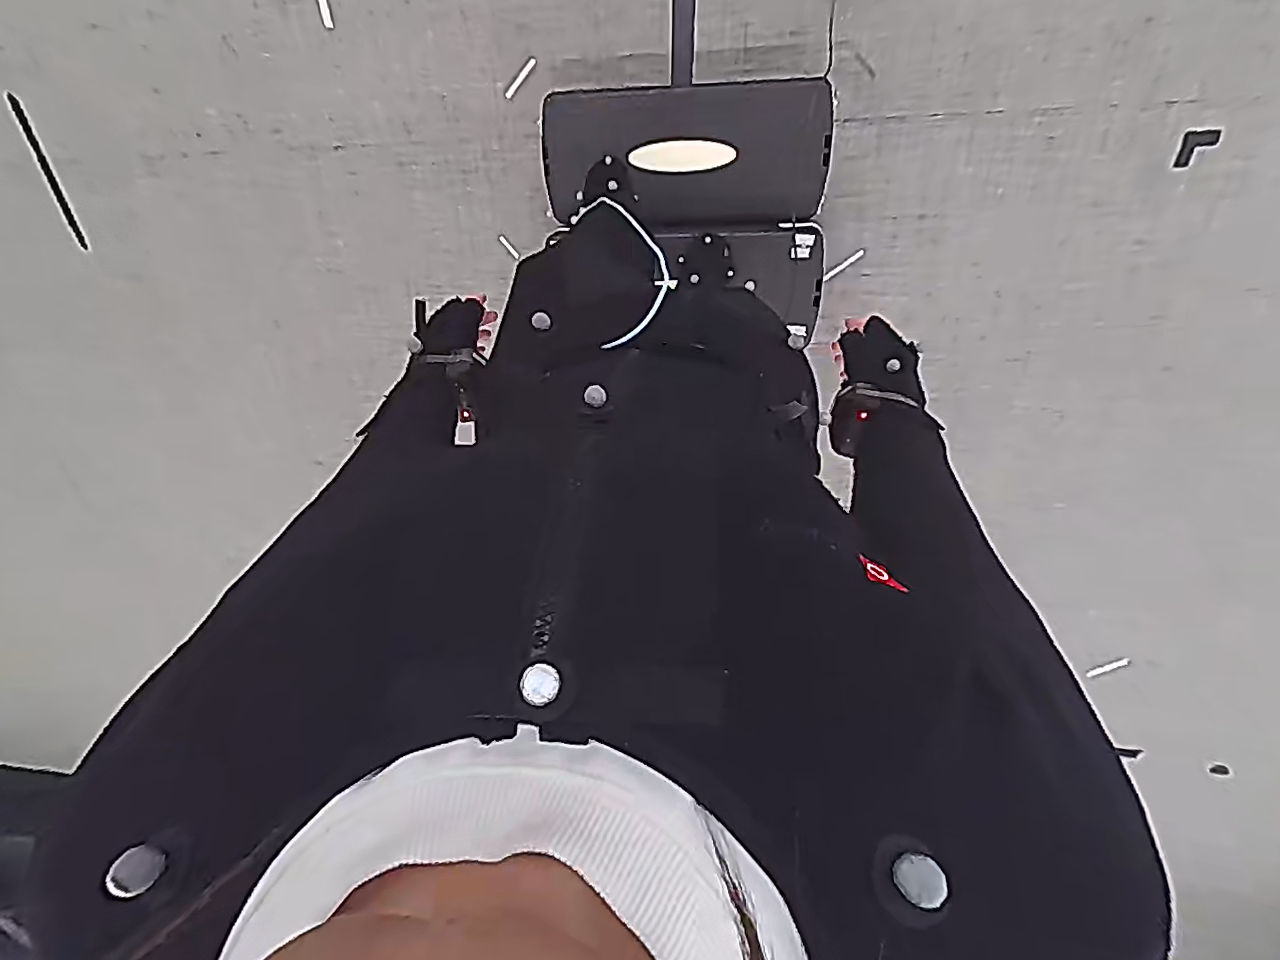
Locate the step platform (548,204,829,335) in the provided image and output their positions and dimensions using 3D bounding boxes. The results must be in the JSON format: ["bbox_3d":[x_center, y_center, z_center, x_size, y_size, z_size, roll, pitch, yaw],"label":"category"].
[{"bbox_3d":[0.116,-0.523,1.359,0.684,0.204,0.286,2,118,9],"label":"step platform"}]
